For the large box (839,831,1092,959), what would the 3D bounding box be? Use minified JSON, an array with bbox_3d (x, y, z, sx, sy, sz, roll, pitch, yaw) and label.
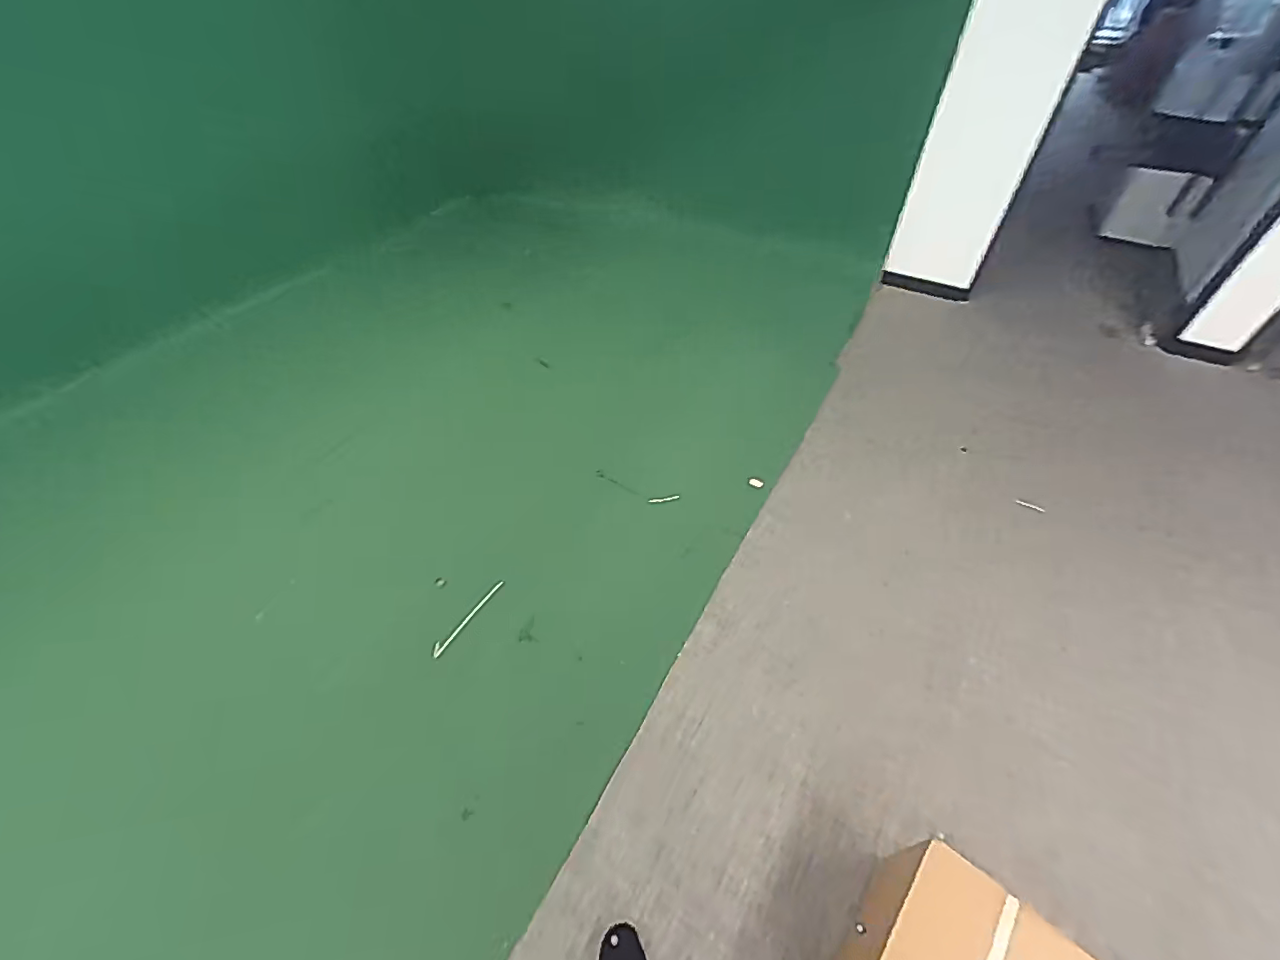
[{"bbox_3d":[0.589,1.013,1.061,0.320,0.320,0.408,32,55,26],"label":"large box"}]
